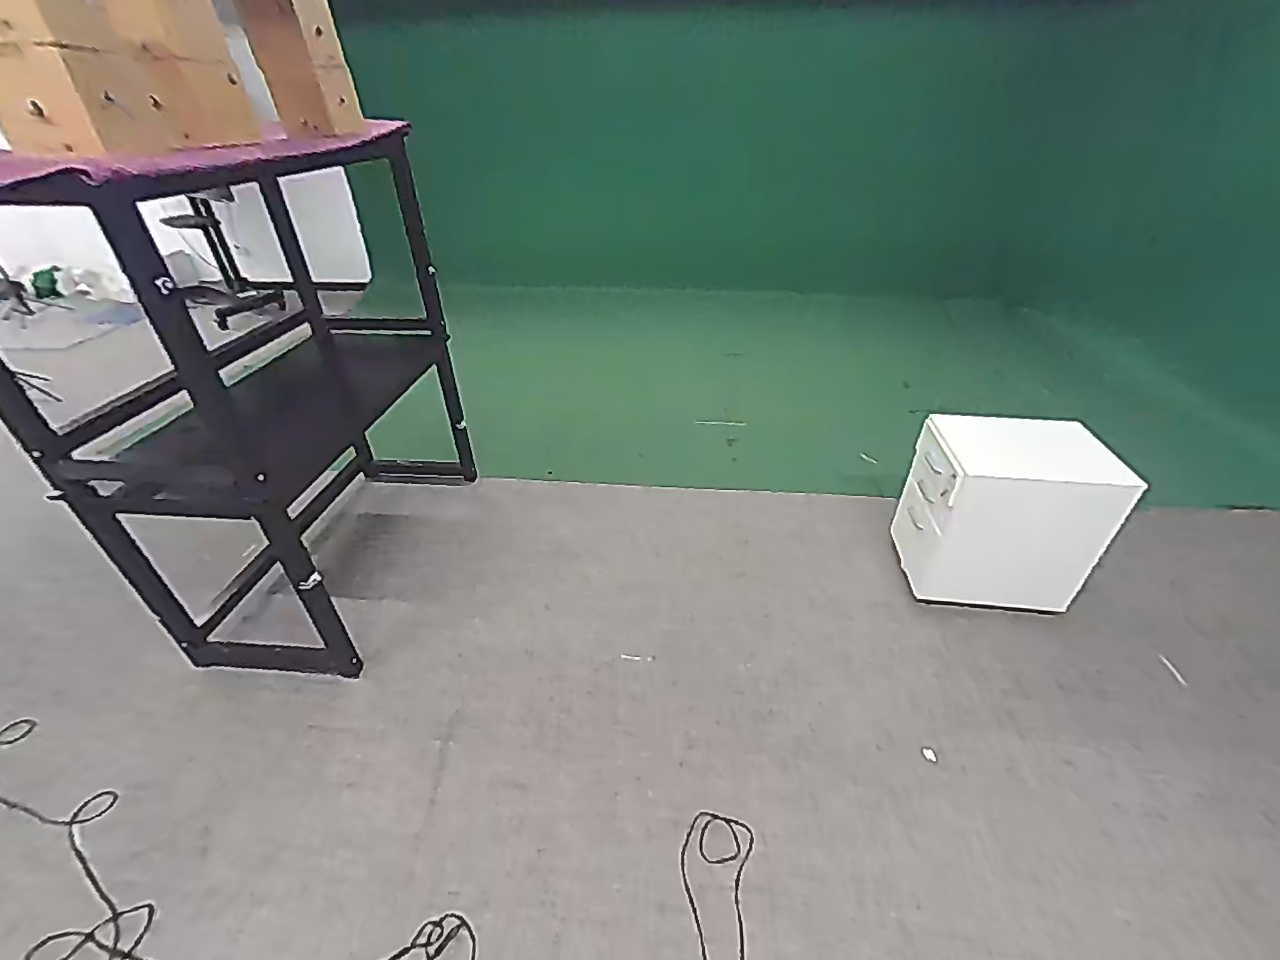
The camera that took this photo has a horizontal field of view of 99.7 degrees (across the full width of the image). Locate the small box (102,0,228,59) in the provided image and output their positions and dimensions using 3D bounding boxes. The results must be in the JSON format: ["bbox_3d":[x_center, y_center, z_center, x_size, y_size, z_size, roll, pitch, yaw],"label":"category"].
[{"bbox_3d":[-1.061,-1.021,1.181,0.168,0.176,0.179,2,34,7],"label":"small box"}]

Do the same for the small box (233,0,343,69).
[{"bbox_3d":[-0.975,-1.264,1.512,0.179,0.176,0.168,2,37,7],"label":"small box"}]

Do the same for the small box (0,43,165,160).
[{"bbox_3d":[-1.051,-0.699,1.006,0.168,0.176,0.179,-2,36,-3],"label":"small box"}]

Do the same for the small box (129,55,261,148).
[{"bbox_3d":[-1.050,-0.887,1.275,0.168,0.176,0.179,2,35,7],"label":"small box"}]

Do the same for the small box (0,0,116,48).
[{"bbox_3d":[-1.054,-0.832,0.912,0.168,0.176,0.179,-5,36,-5],"label":"small box"}]
